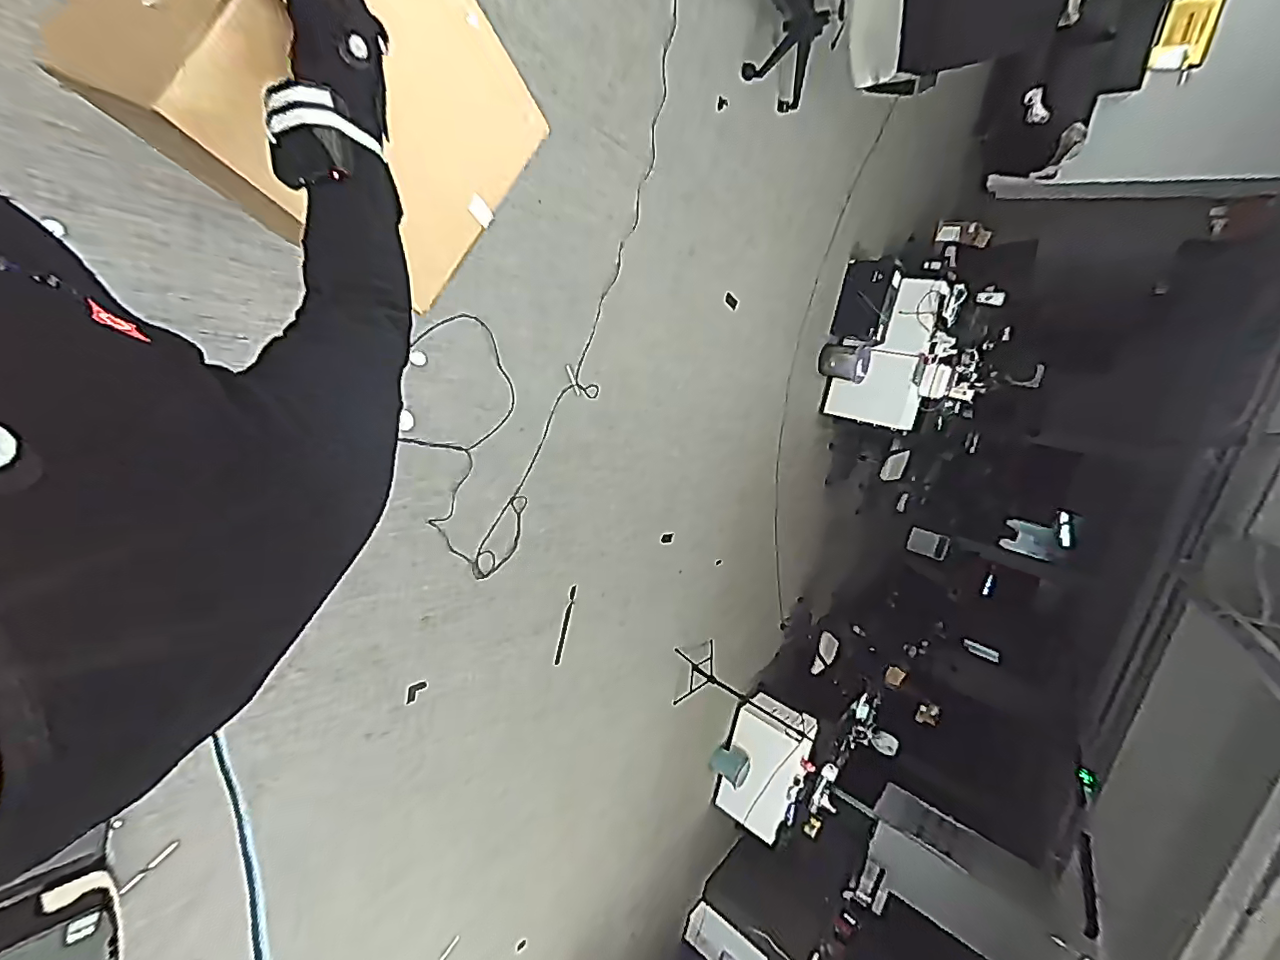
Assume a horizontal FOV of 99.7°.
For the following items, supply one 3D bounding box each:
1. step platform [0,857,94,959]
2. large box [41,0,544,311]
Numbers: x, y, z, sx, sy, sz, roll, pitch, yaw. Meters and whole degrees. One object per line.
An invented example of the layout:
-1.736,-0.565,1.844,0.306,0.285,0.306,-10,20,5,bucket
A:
-1.493,1.054,0.998,0.684,0.204,0.286,-6,111,-50,step platform
-0.409,-0.479,0.684,0.320,0.408,0.320,-57,154,-3,large box
